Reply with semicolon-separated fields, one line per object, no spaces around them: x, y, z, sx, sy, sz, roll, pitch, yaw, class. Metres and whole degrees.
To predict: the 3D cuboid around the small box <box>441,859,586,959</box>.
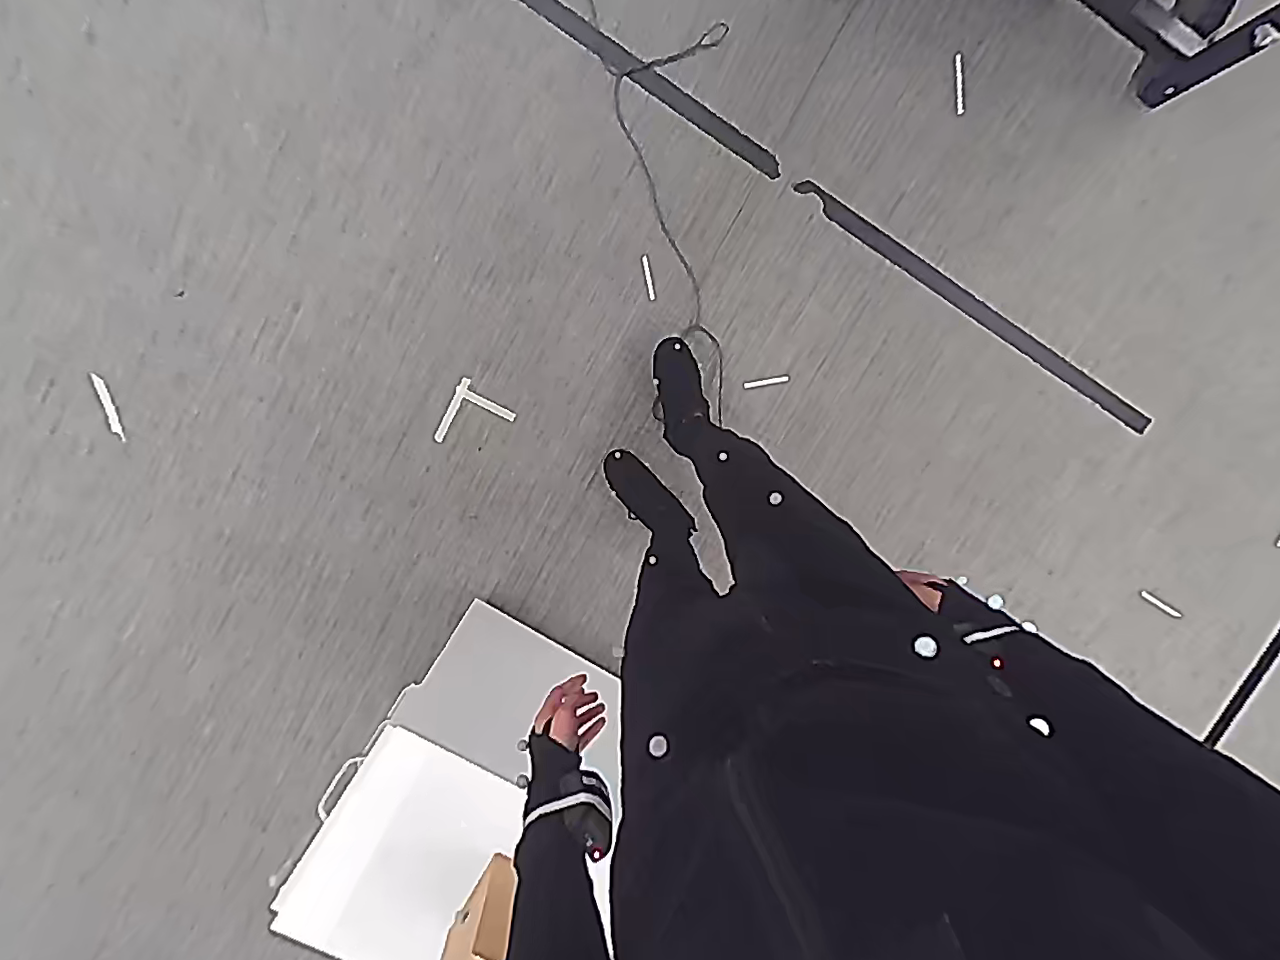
-0.189;0.715;0.801;0.179;0.176;0.168;29;94;-7;small box
